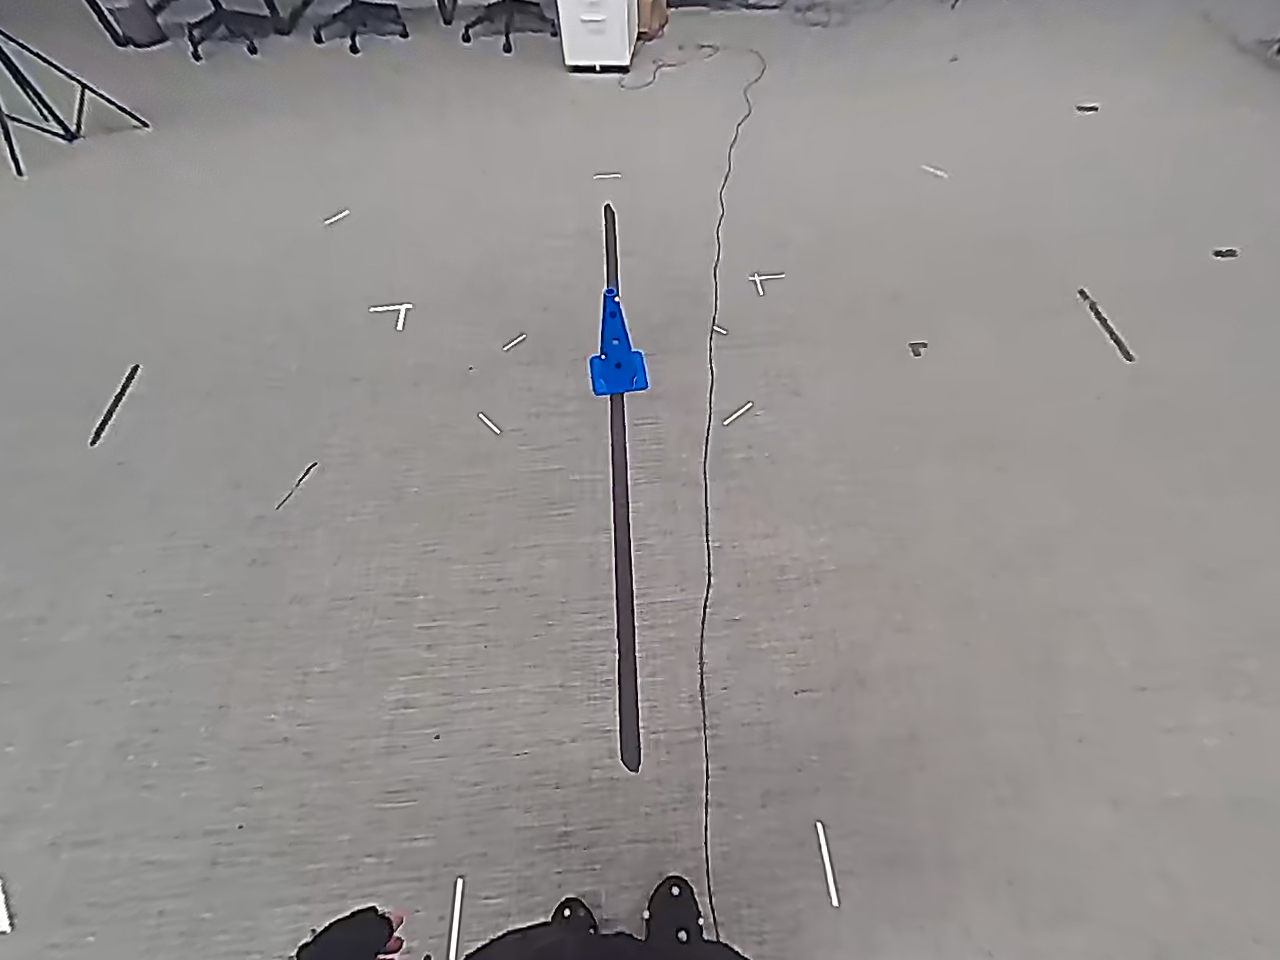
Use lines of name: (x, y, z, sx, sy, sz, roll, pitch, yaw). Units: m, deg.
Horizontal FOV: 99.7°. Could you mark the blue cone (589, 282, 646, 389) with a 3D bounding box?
blue cone: (-0.092, -0.498, 1.824, 0.192, 0.380, 0.193, -9, 56, -3)
